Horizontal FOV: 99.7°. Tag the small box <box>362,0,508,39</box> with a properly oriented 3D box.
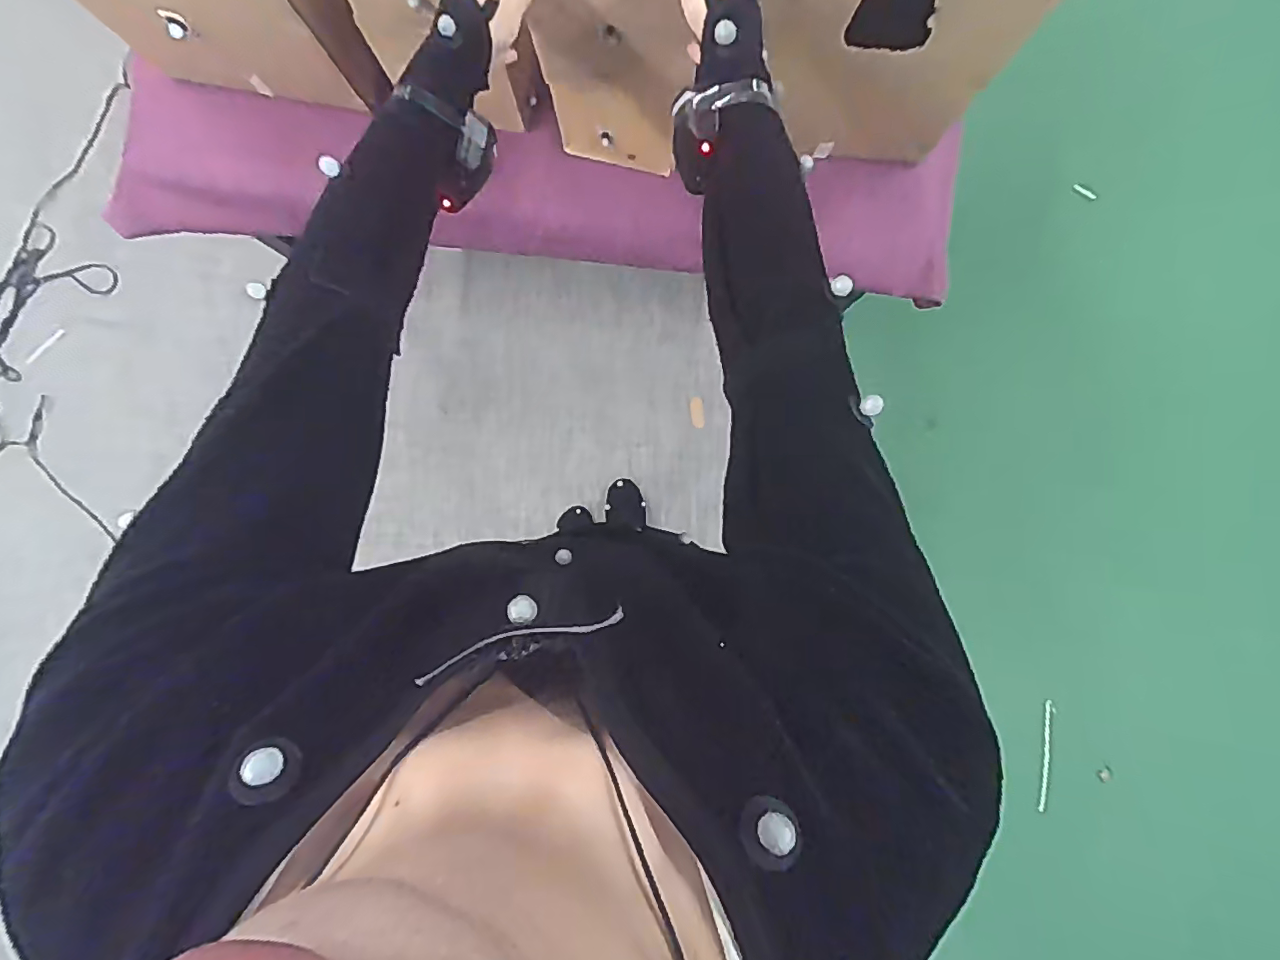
[{"bbox_3d":[-0.228,-0.605,0.545,0.168,0.176,0.179,5,90,0],"label":"small box"}]

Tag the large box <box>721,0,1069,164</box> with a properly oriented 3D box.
[{"bbox_3d":[0.280,-0.673,0.651,0.320,0.320,0.408,4,90,1],"label":"large box"}]
